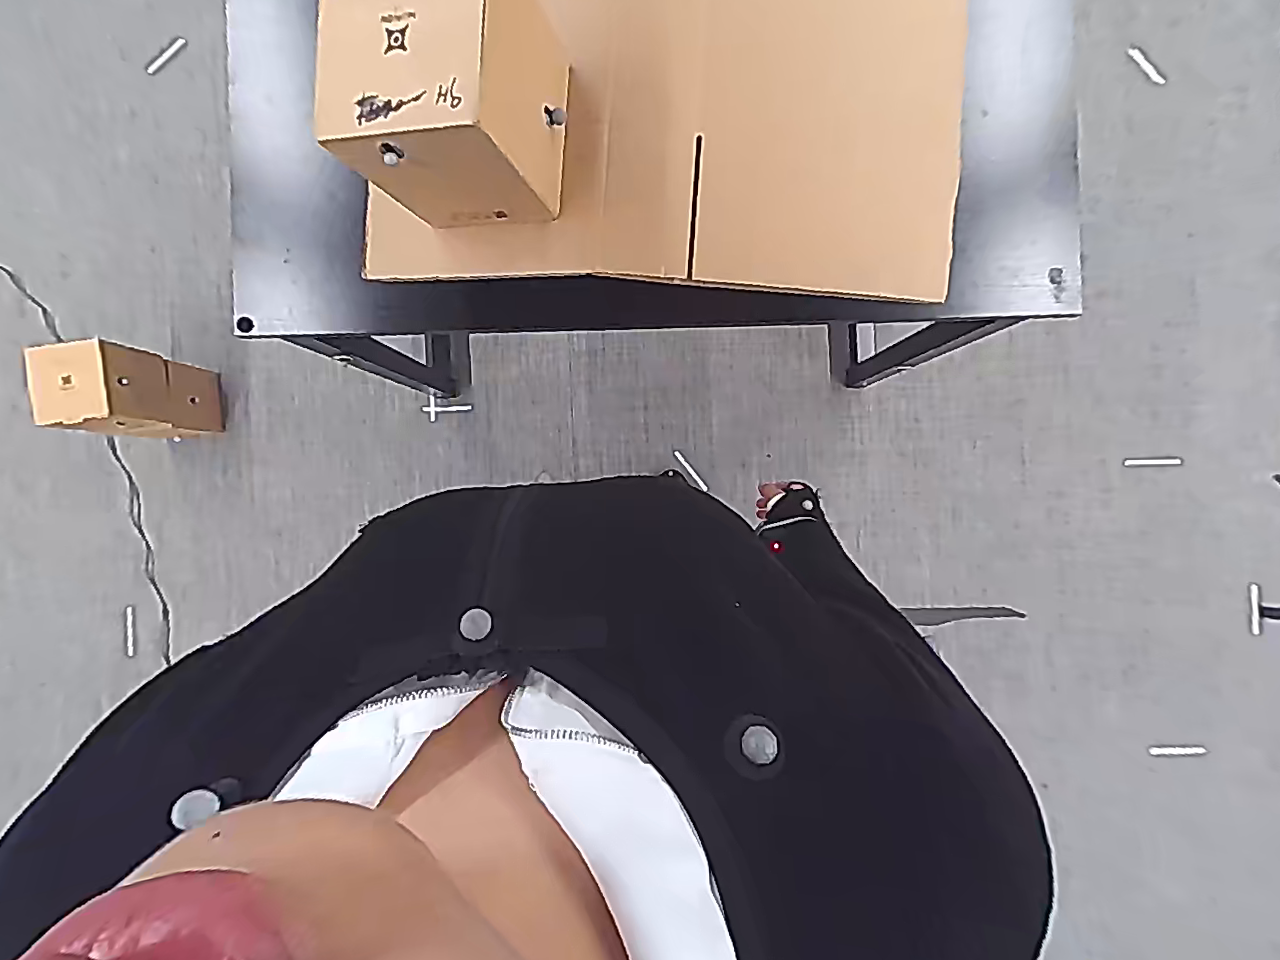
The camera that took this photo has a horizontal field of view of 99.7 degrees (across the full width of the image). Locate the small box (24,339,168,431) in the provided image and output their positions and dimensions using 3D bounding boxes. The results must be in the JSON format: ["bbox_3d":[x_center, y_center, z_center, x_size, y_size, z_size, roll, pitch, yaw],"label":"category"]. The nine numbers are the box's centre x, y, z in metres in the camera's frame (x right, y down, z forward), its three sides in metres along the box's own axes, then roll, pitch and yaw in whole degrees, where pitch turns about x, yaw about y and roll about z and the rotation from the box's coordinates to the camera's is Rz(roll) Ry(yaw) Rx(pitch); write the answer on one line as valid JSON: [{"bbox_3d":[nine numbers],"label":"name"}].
[{"bbox_3d":[-1.252,-0.212,1.258,0.168,0.176,0.179,-8,89,-1],"label":"small box"}]

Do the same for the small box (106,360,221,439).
[{"bbox_3d":[-1.250,-0.206,1.420,0.168,0.176,0.179,-5,91,0],"label":"small box"}]

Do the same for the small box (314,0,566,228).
[{"bbox_3d":[-0.181,-0.376,0.534,0.168,0.176,0.179,4,90,15],"label":"small box"}]
